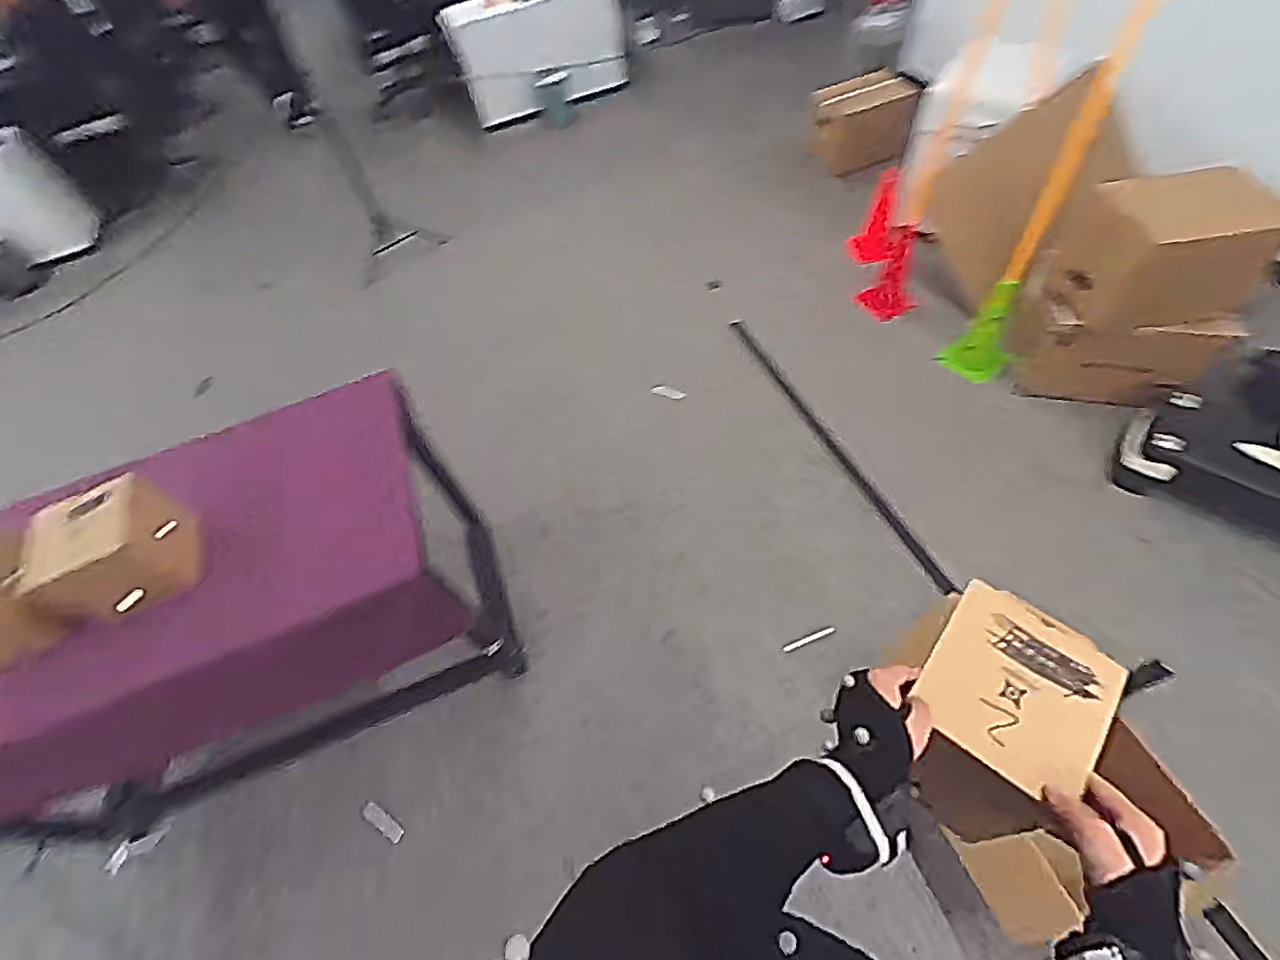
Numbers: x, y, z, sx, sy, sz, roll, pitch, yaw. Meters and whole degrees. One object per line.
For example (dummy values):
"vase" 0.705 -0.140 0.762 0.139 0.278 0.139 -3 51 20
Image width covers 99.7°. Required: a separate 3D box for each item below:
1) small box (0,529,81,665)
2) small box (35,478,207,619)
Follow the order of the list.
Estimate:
"small box" -1.194 0.227 1.003 0.168 0.176 0.179 -23 56 -8
"small box" -0.973 0.134 1.035 0.168 0.176 0.179 -26 57 -9
